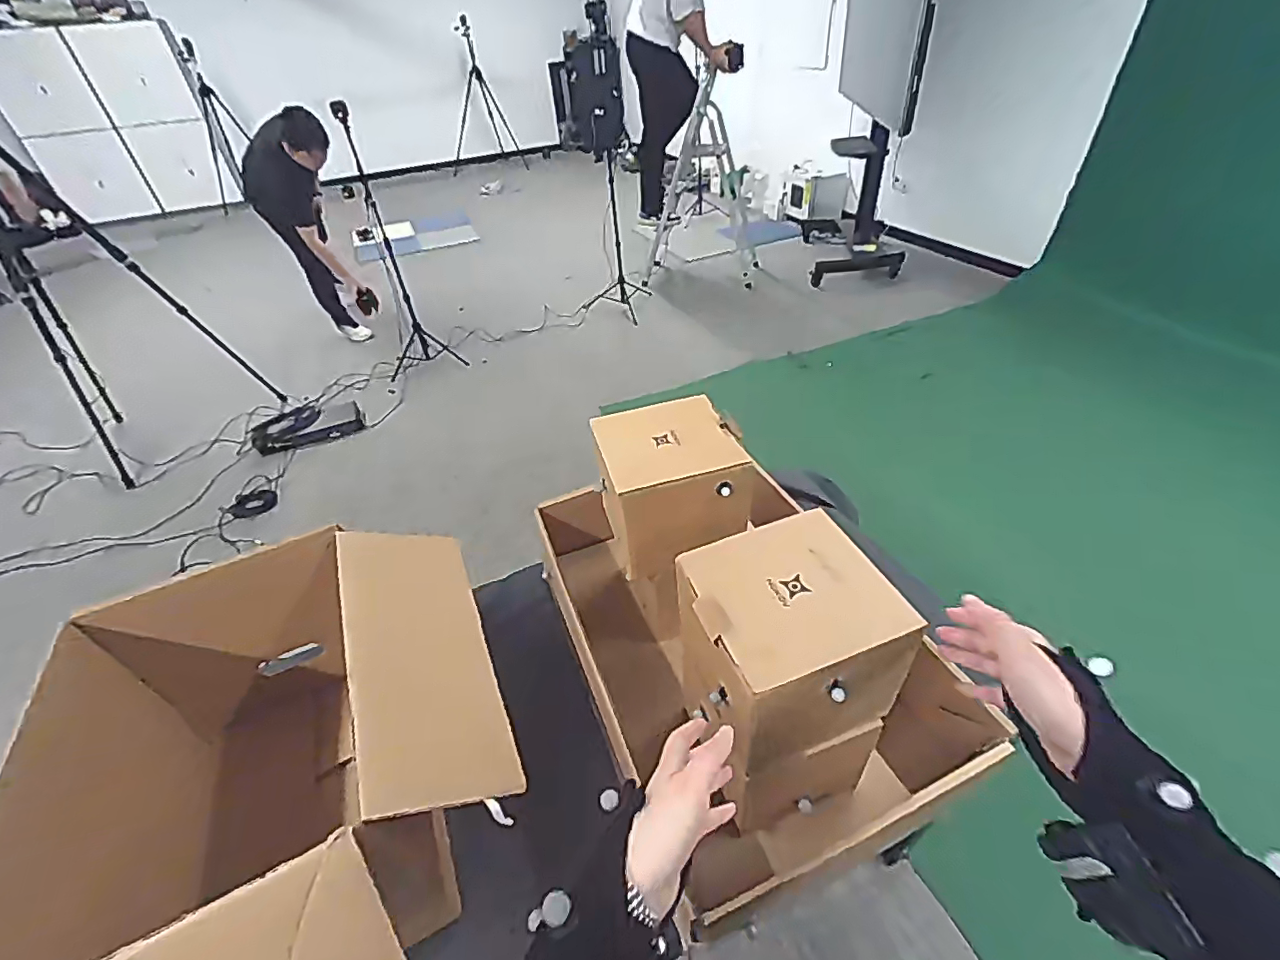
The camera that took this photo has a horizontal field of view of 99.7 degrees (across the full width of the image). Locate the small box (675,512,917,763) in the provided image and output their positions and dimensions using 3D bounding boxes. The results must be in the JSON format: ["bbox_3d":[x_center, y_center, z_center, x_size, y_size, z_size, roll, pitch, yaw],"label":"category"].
[{"bbox_3d":[0.149,0.167,0.575,0.179,0.176,0.168,-16,43,-12],"label":"small box"}]

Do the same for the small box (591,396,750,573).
[{"bbox_3d":[0.040,0.008,0.764,0.179,0.176,0.168,-13,43,-10],"label":"small box"}]
